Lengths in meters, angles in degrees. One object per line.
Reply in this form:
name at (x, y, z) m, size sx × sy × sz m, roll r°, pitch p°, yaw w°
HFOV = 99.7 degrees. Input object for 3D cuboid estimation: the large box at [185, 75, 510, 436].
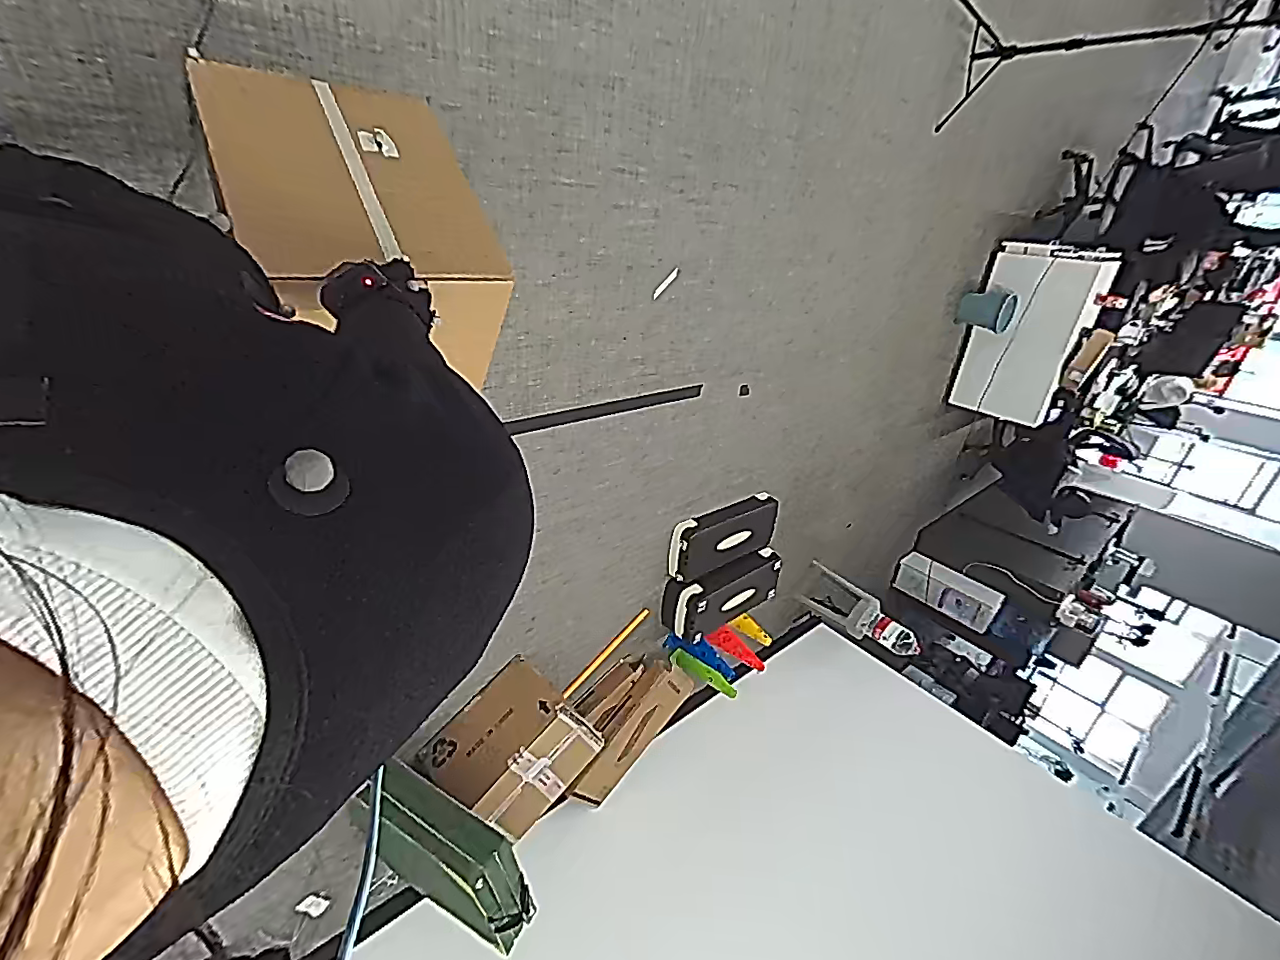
large box at (-0.454, -0.336, 0.858) m, size 0.320 × 0.408 × 0.320 m, roll -15°, pitch 157°, yaw -36°
